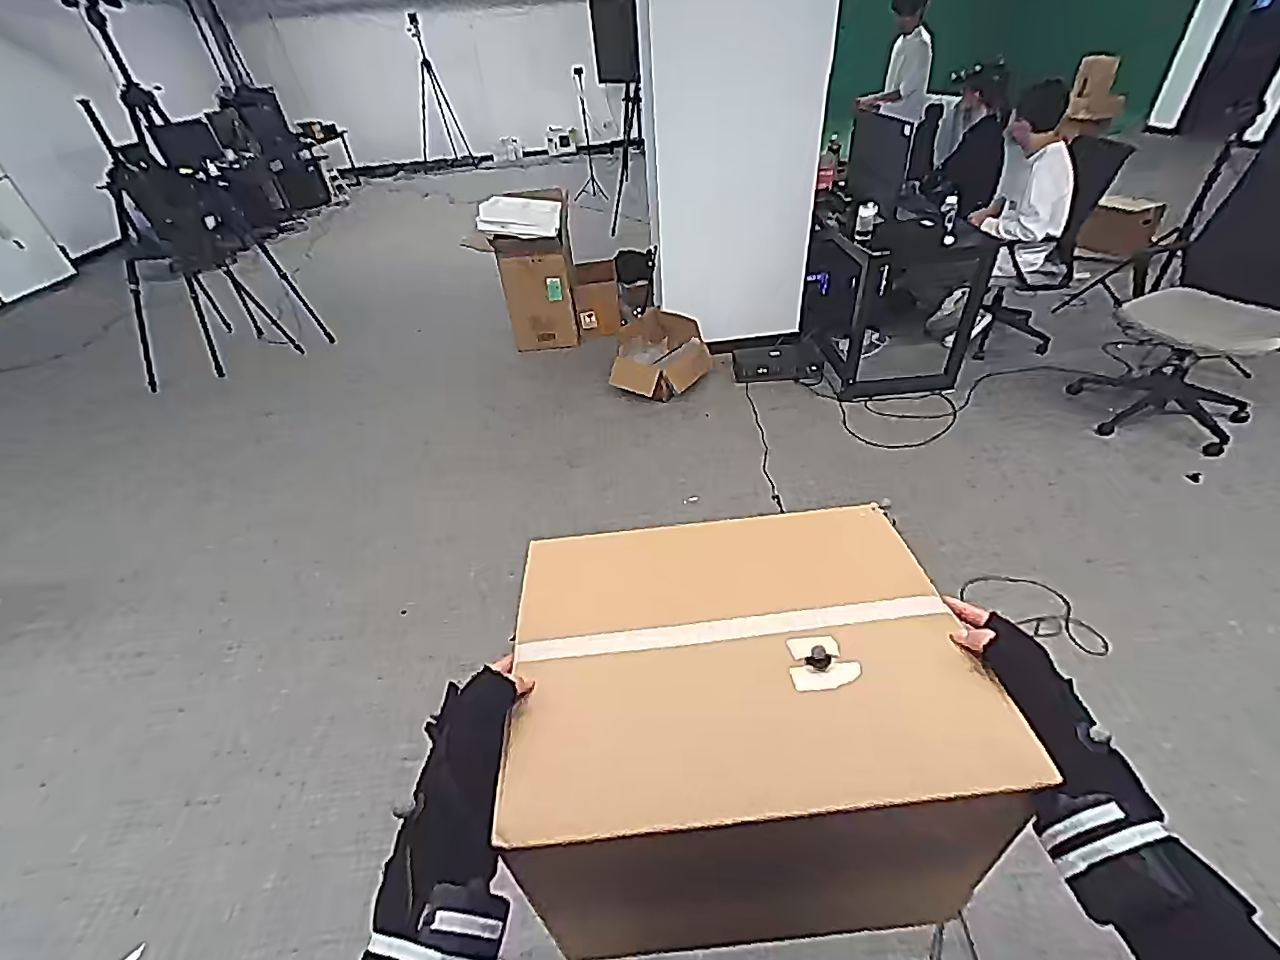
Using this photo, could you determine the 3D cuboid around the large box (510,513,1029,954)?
[{"bbox_3d":[0.098,0.271,0.607,0.408,0.320,0.320,-6,37,0],"label":"large box"}]
